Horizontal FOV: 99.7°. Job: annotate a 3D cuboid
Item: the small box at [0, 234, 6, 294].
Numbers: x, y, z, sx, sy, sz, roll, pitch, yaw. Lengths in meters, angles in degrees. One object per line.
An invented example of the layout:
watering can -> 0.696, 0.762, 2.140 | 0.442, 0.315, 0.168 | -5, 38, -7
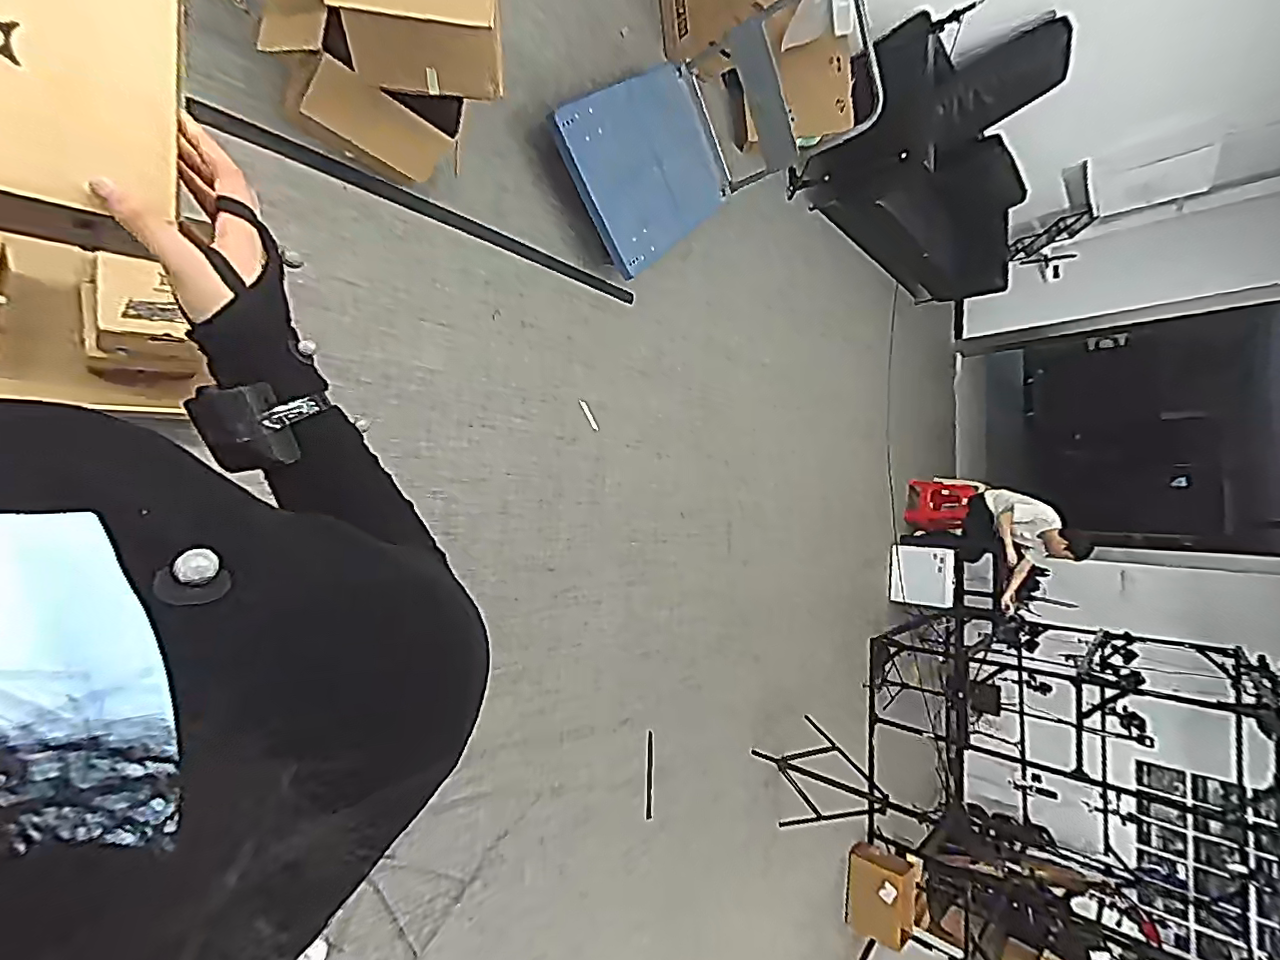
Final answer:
small box -> -1.150, -0.324, 0.855 | 0.168, 0.176, 0.179 | 14, 79, -47

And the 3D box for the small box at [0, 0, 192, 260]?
small box -> -0.409, -0.255, 0.352 | 0.179, 0.176, 0.168 | 1, 98, -40

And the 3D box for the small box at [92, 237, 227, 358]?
small box -> -0.837, -0.320, 0.943 | 0.168, 0.176, 0.179 | -1, 89, -46
